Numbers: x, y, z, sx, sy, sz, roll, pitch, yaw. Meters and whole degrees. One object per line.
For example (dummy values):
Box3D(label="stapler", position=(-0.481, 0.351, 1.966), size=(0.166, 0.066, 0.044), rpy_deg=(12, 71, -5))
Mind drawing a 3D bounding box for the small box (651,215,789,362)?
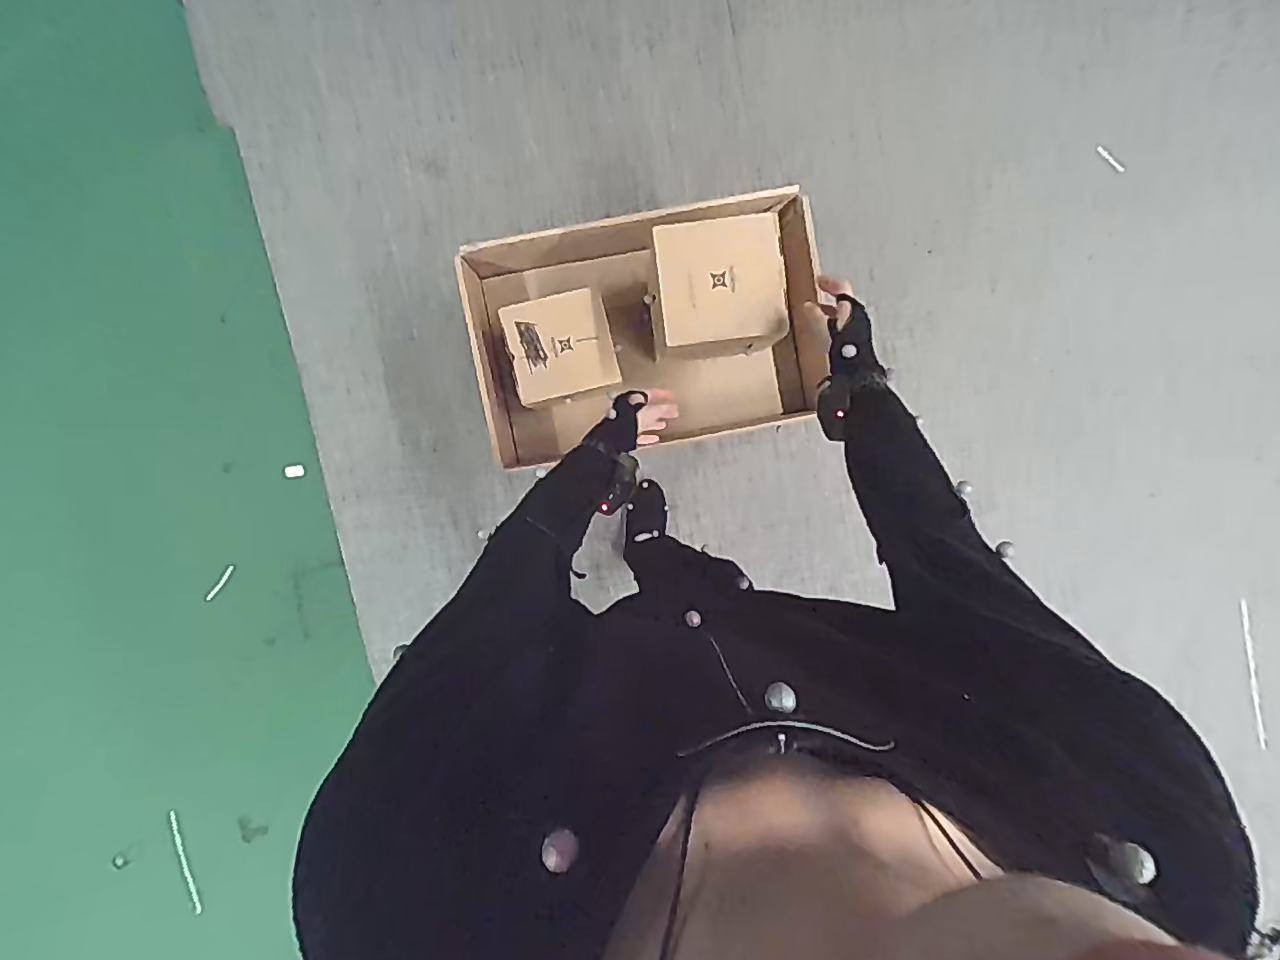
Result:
Box3D(label="small box", position=(0.112, -0.278, 0.819), size=(0.179, 0.176, 0.168), rpy_deg=(-6, 94, 1))
